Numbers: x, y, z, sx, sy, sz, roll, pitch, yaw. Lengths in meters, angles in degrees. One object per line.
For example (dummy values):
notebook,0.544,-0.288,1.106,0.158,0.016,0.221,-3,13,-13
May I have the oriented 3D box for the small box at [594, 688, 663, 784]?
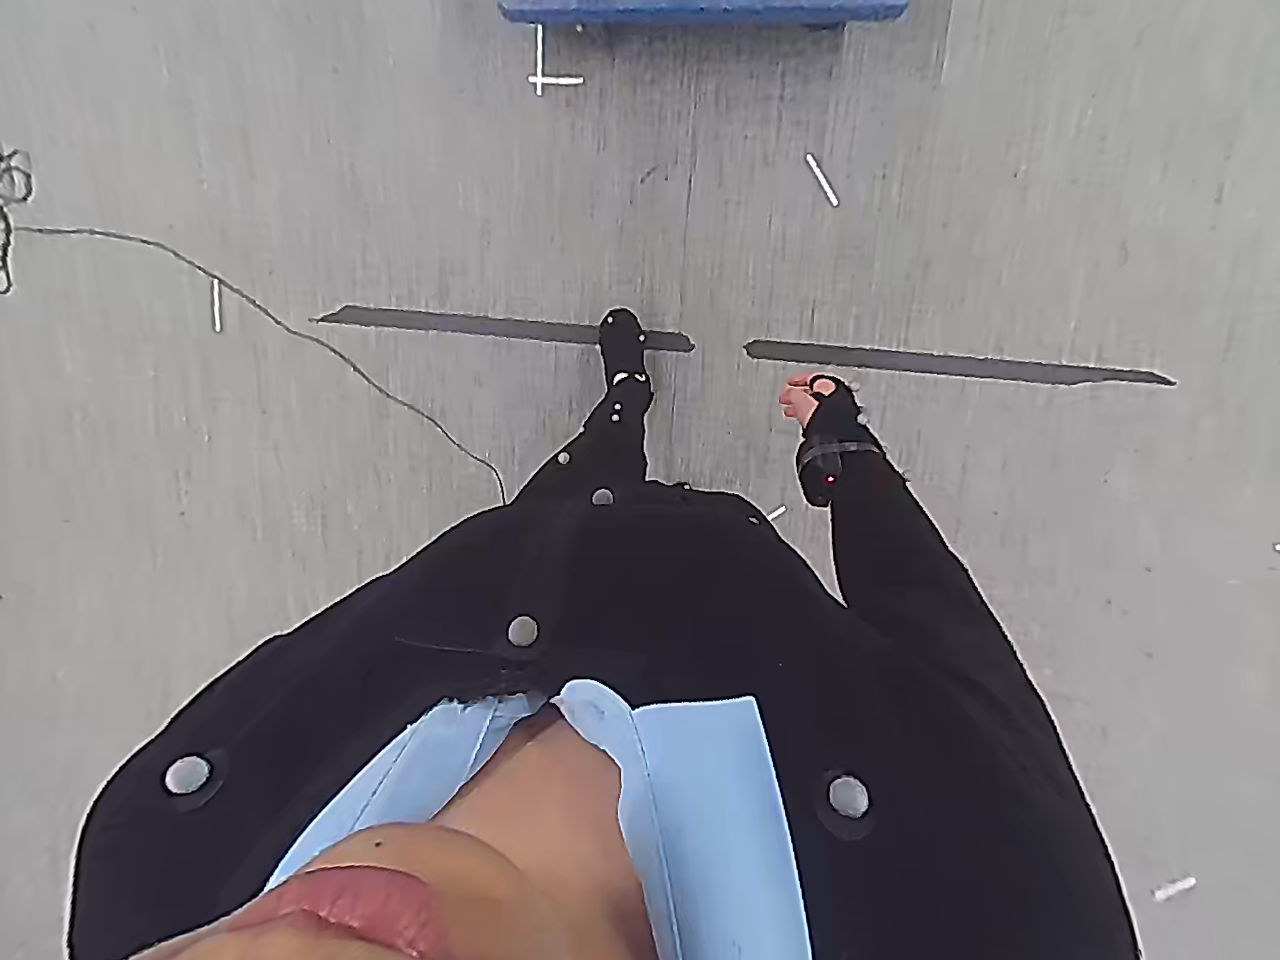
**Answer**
small box,-0.026,0.703,1.495,0.168,0.176,0.179,-7,98,4
